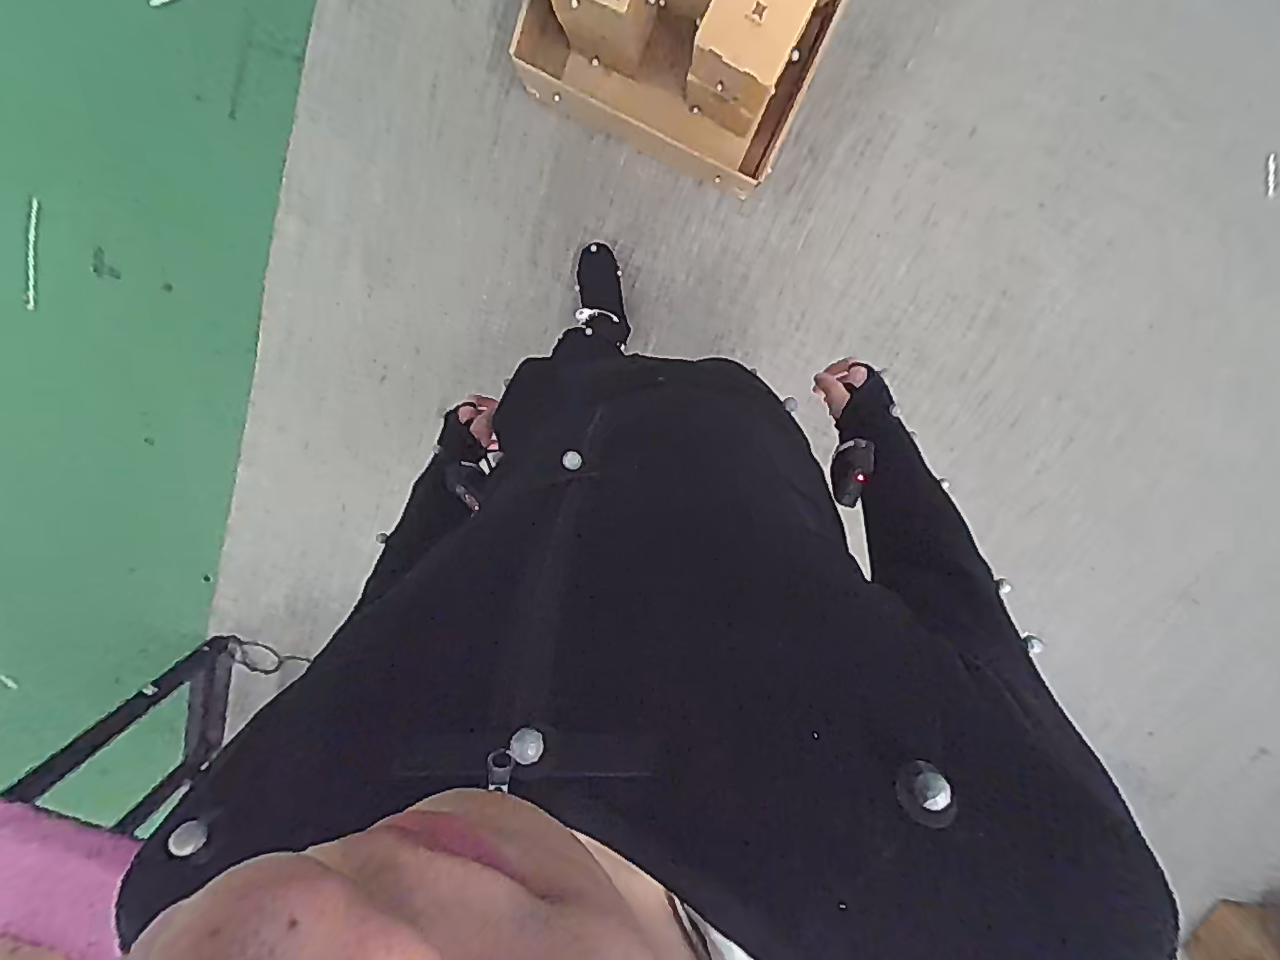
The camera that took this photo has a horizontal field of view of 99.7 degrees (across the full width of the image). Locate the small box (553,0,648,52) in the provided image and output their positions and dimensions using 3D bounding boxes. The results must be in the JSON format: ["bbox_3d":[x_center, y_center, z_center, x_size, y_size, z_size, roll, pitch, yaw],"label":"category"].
[{"bbox_3d":[-0.069,-0.959,1.008,0.168,0.176,0.179,22,107,-3],"label":"small box"}]

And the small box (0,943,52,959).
[{"bbox_3d":[-1.534,1.248,1.267,0.168,0.176,0.179,22,107,-7],"label":"small box"}]

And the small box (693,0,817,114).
[{"bbox_3d":[0.210,-0.851,1.032,0.168,0.176,0.179,27,109,-7],"label":"small box"}]
